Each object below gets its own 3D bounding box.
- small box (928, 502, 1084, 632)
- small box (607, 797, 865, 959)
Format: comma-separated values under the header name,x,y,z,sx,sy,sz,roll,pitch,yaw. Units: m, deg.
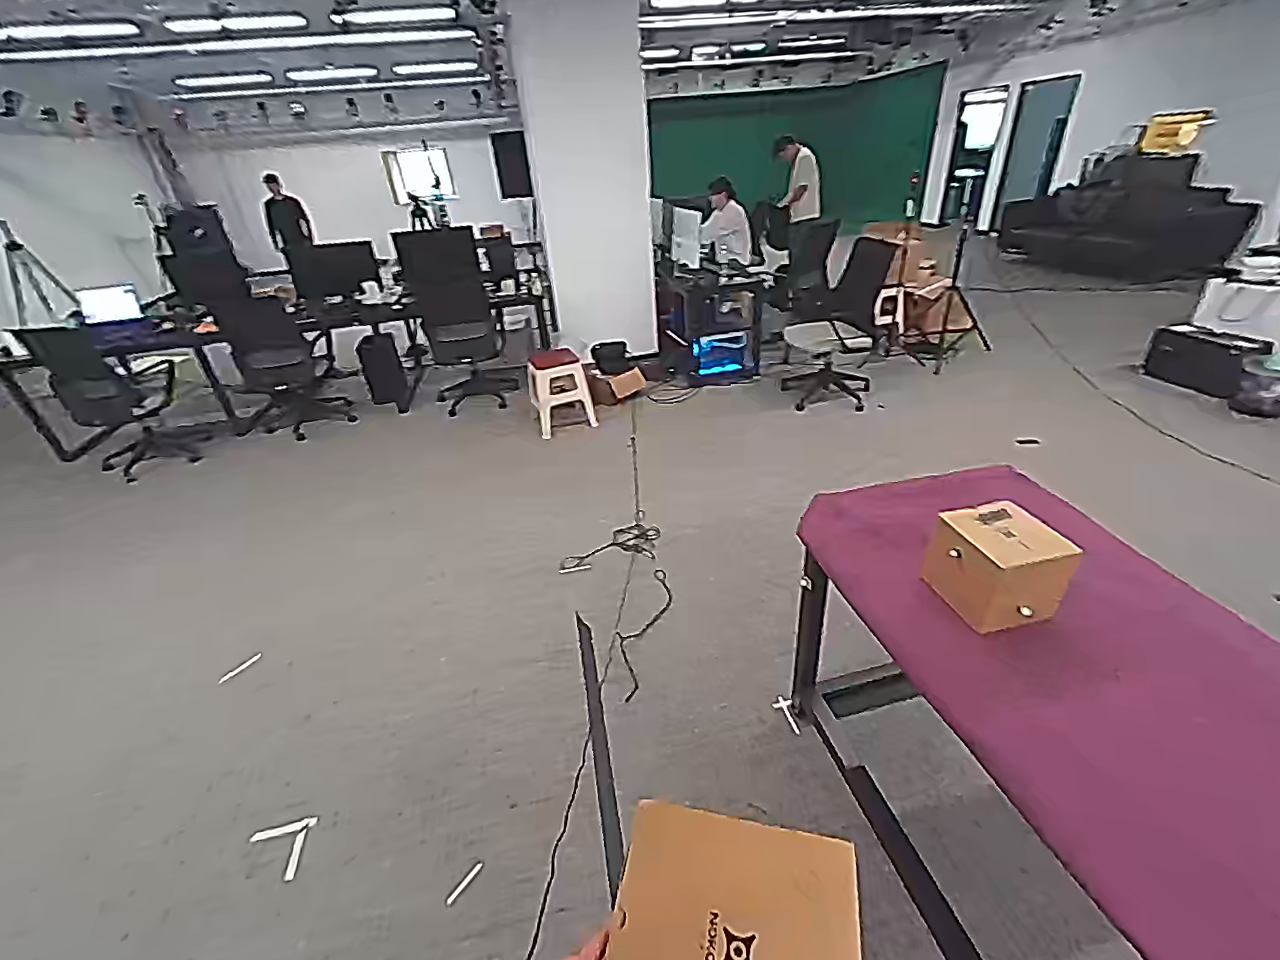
name,x,y,z,sx,sy,sz,roll,pitch,yaw
small box,0.703,0.169,1.066,0.168,0.176,0.179,-10,32,-8
small box,0.074,0.385,0.430,0.179,0.176,0.168,3,41,13
